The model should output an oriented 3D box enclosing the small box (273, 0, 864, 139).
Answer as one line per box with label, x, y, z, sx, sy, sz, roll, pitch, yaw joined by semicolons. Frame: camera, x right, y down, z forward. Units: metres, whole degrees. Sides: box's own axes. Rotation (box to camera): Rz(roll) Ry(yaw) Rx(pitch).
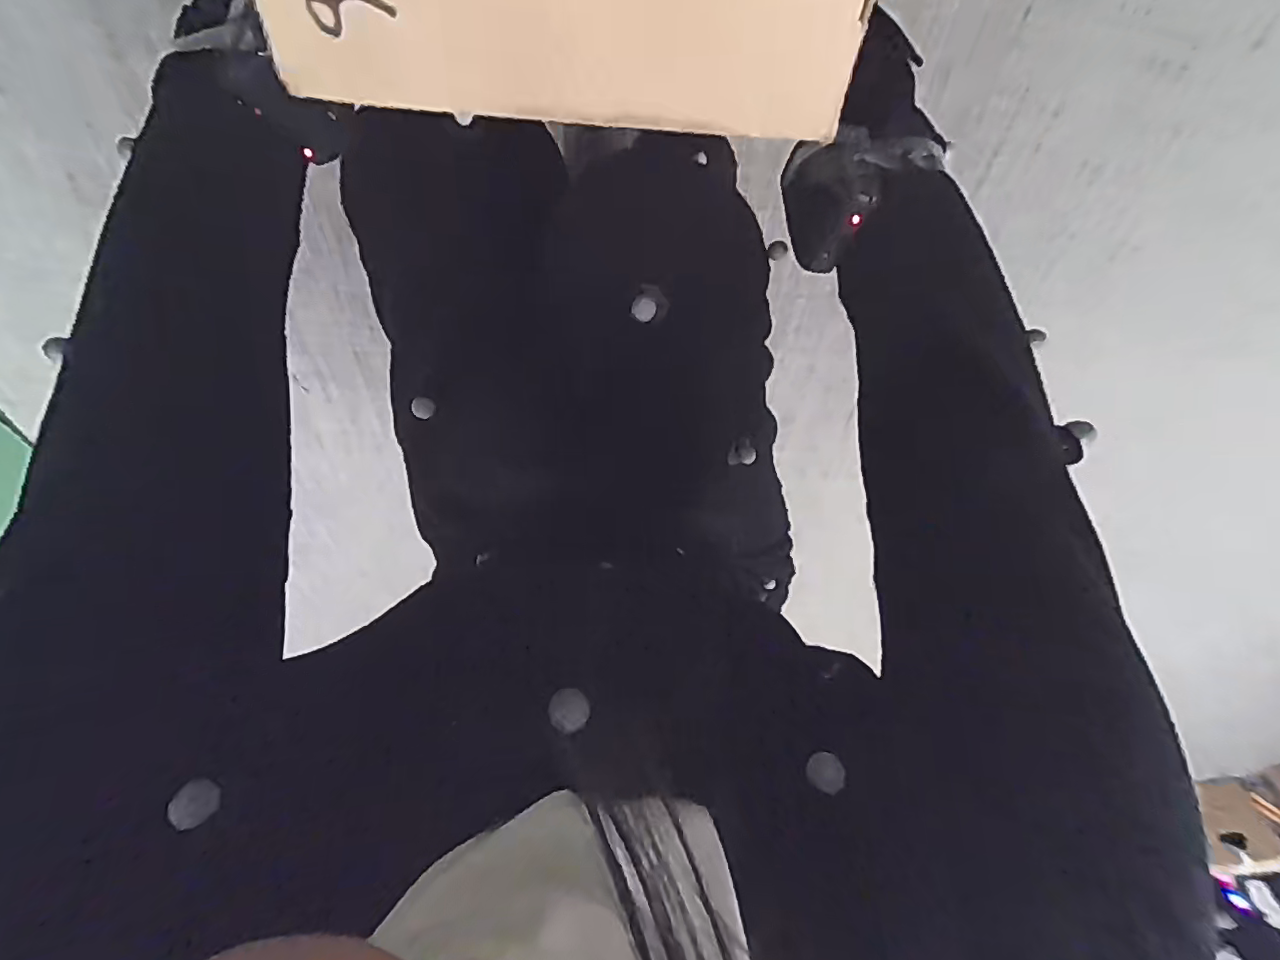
small box;-0.017;-0.234;0.175;0.179;0.176;0.168;3;136;-4
